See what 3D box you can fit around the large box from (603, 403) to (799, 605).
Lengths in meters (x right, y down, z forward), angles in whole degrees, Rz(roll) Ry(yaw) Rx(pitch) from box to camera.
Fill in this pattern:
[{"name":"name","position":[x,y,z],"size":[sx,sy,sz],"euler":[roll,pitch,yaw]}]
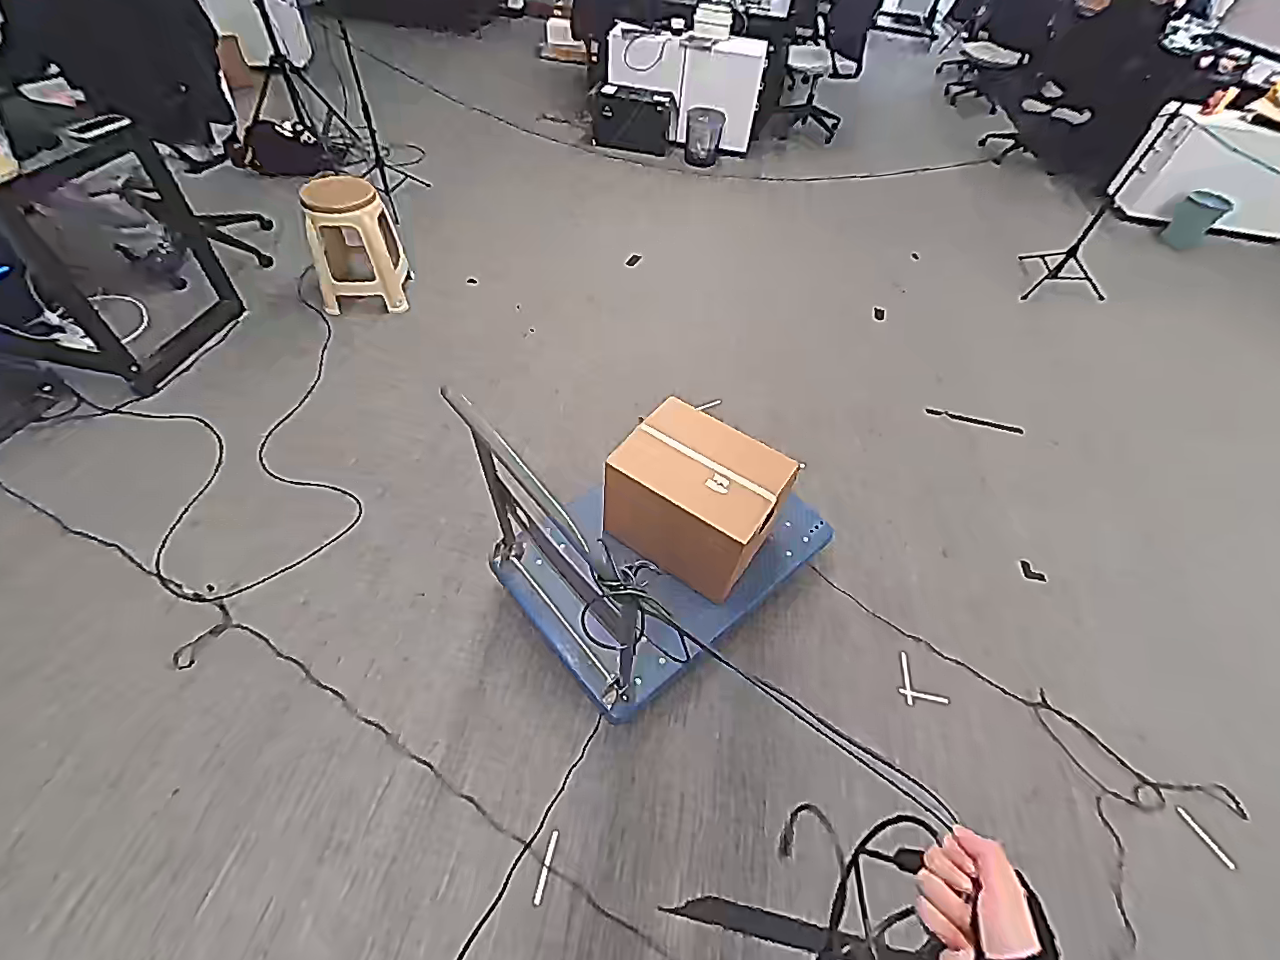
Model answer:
[{"name":"large box","position":[0.148,0.062,1.478],"size":[0.408,0.320,0.320],"euler":[31,55,18]}]
